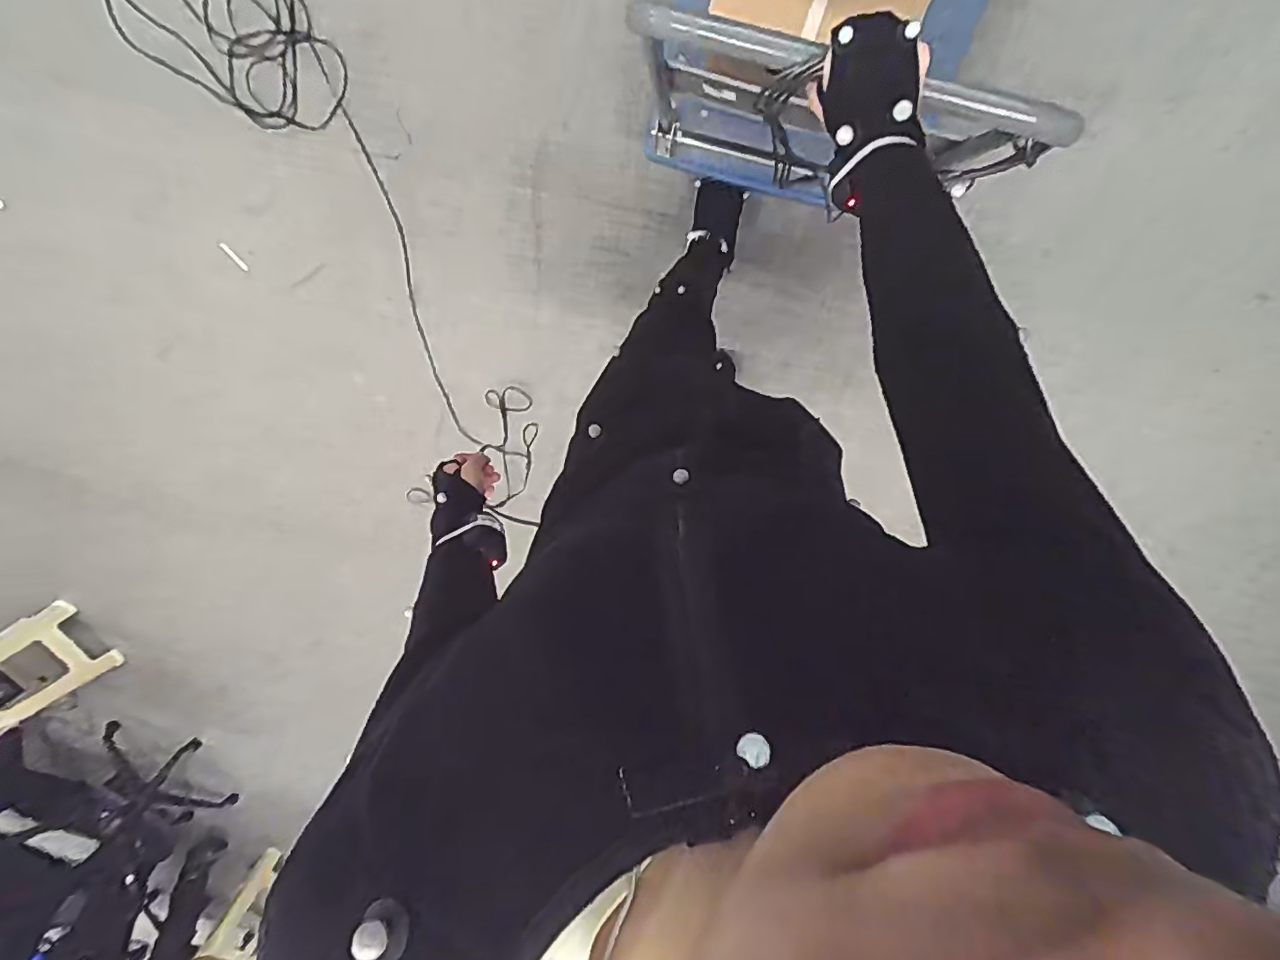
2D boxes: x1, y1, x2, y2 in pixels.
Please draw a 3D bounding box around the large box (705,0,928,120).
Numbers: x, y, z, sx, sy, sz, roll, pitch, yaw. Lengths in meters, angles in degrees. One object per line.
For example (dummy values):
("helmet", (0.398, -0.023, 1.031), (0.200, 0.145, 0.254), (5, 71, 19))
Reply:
("large box", (0.312, -0.879, 0.876), (0.320, 0.320, 0.408), (17, 114, -1))
